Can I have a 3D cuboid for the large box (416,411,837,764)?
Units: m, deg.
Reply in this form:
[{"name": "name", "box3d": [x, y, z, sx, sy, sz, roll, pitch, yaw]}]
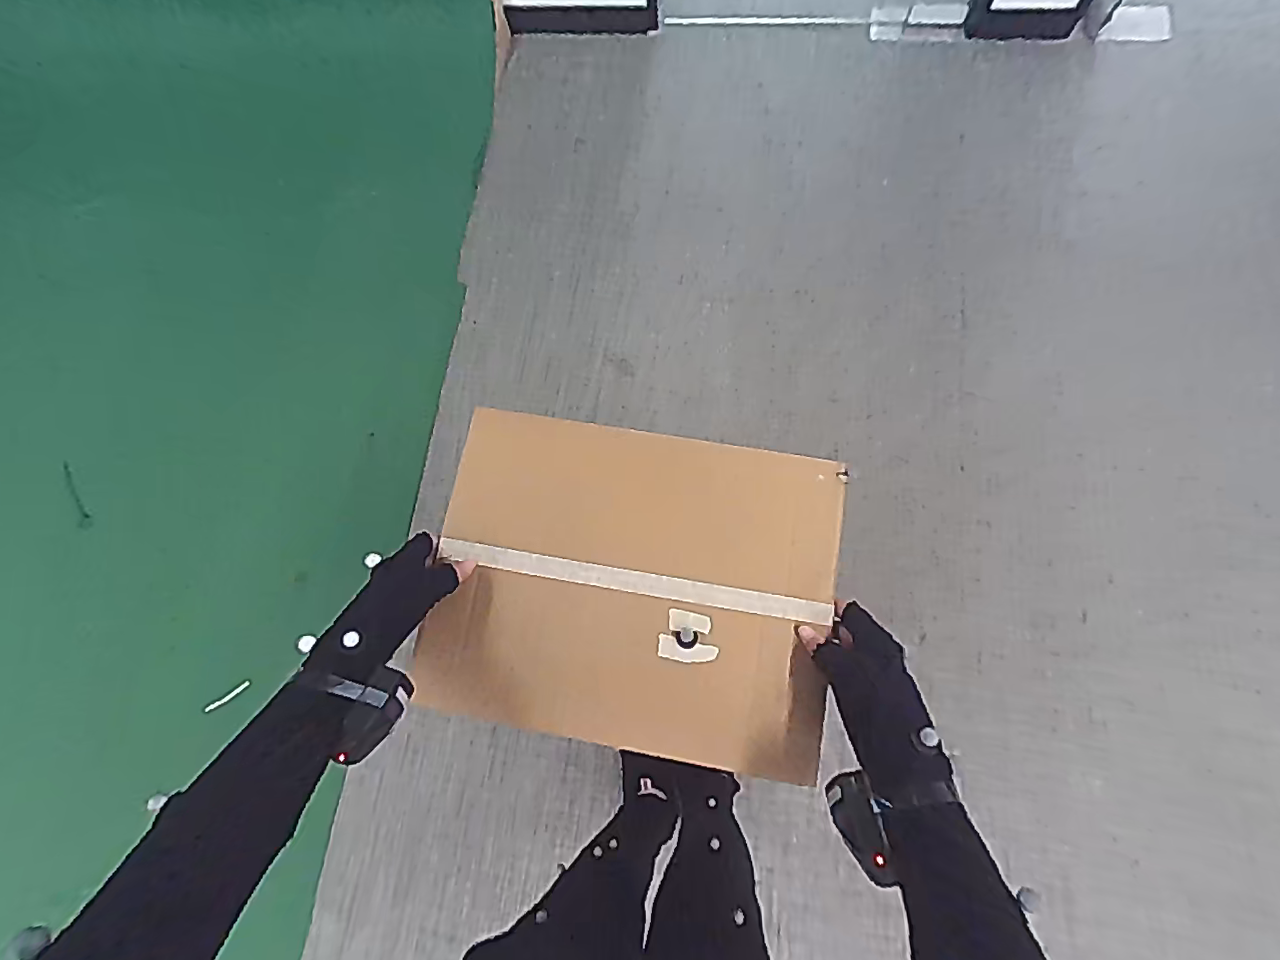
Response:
[{"name": "large box", "box3d": [-0.004, 0.132, 0.704, 0.408, 0.320, 0.320, 9, 77, 4]}]
